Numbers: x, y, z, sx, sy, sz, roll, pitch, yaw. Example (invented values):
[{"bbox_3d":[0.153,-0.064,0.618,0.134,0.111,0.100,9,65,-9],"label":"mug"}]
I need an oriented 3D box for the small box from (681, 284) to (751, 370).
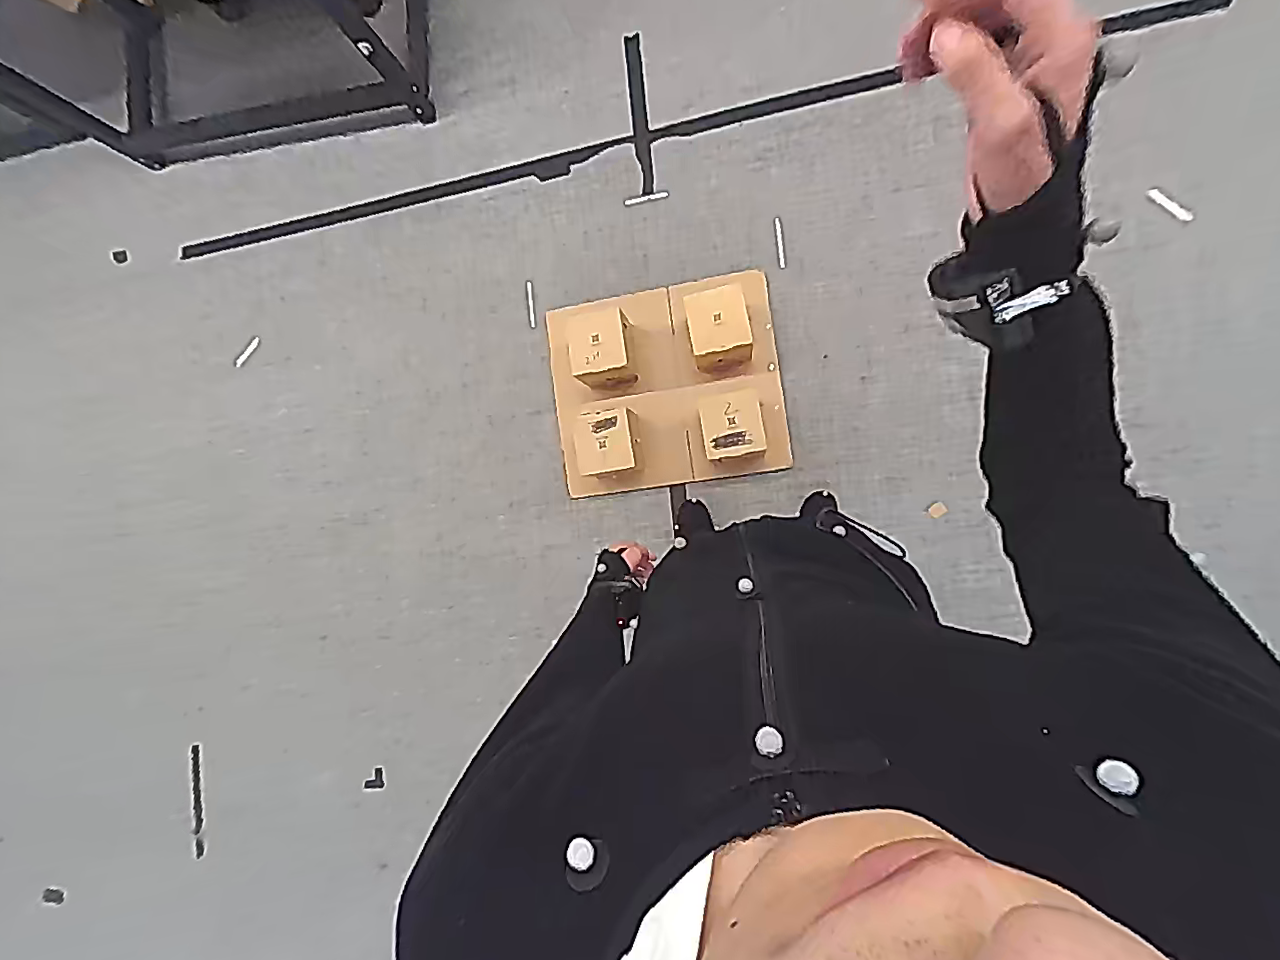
[{"bbox_3d":[0.220,-0.435,1.562,0.168,0.176,0.179,-12,87,10],"label":"small box"}]

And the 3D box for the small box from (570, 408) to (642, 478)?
[{"bbox_3d":[-0.097,-0.105,1.606,0.168,0.176,0.179,-9,88,11],"label":"small box"}]

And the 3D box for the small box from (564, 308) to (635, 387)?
[{"bbox_3d":[-0.117,-0.389,1.615,0.168,0.176,0.179,-9,87,11],"label":"small box"}]
